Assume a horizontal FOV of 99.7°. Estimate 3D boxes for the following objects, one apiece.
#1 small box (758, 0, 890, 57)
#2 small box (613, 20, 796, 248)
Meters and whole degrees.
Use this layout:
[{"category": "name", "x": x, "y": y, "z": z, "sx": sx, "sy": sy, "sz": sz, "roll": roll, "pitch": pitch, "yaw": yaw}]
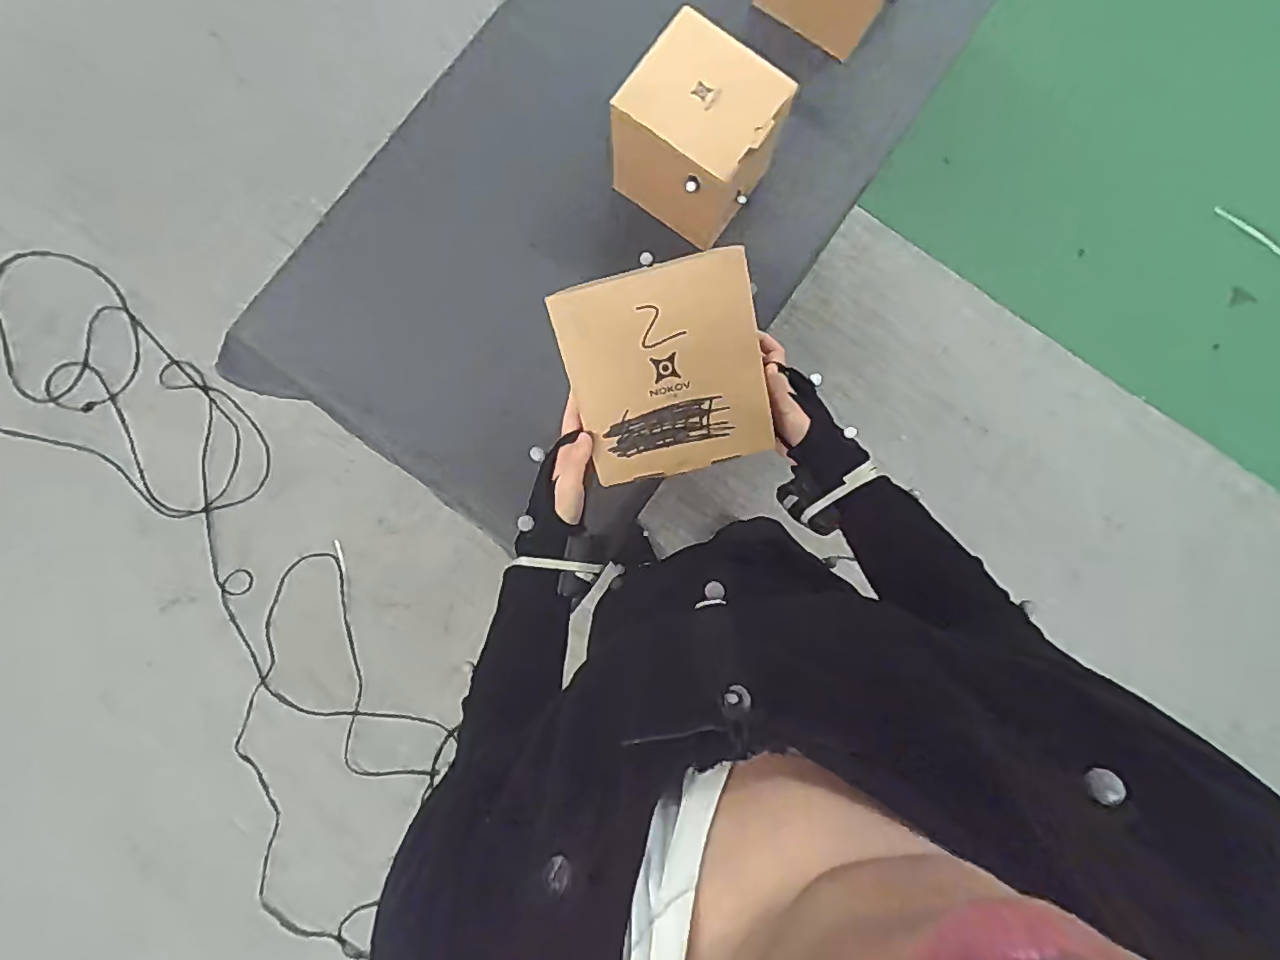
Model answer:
[{"category": "small box", "x": 0.295, "y": -0.773, "z": 0.780, "sx": 0.179, "sy": 0.176, "sz": 0.168, "roll": 34, "pitch": 87, "yaw": 2}, {"category": "small box", "x": 0.079, "y": -0.463, "z": 0.754, "sx": 0.179, "sy": 0.176, "sz": 0.168, "roll": 35, "pitch": 85, "yaw": 2}]
